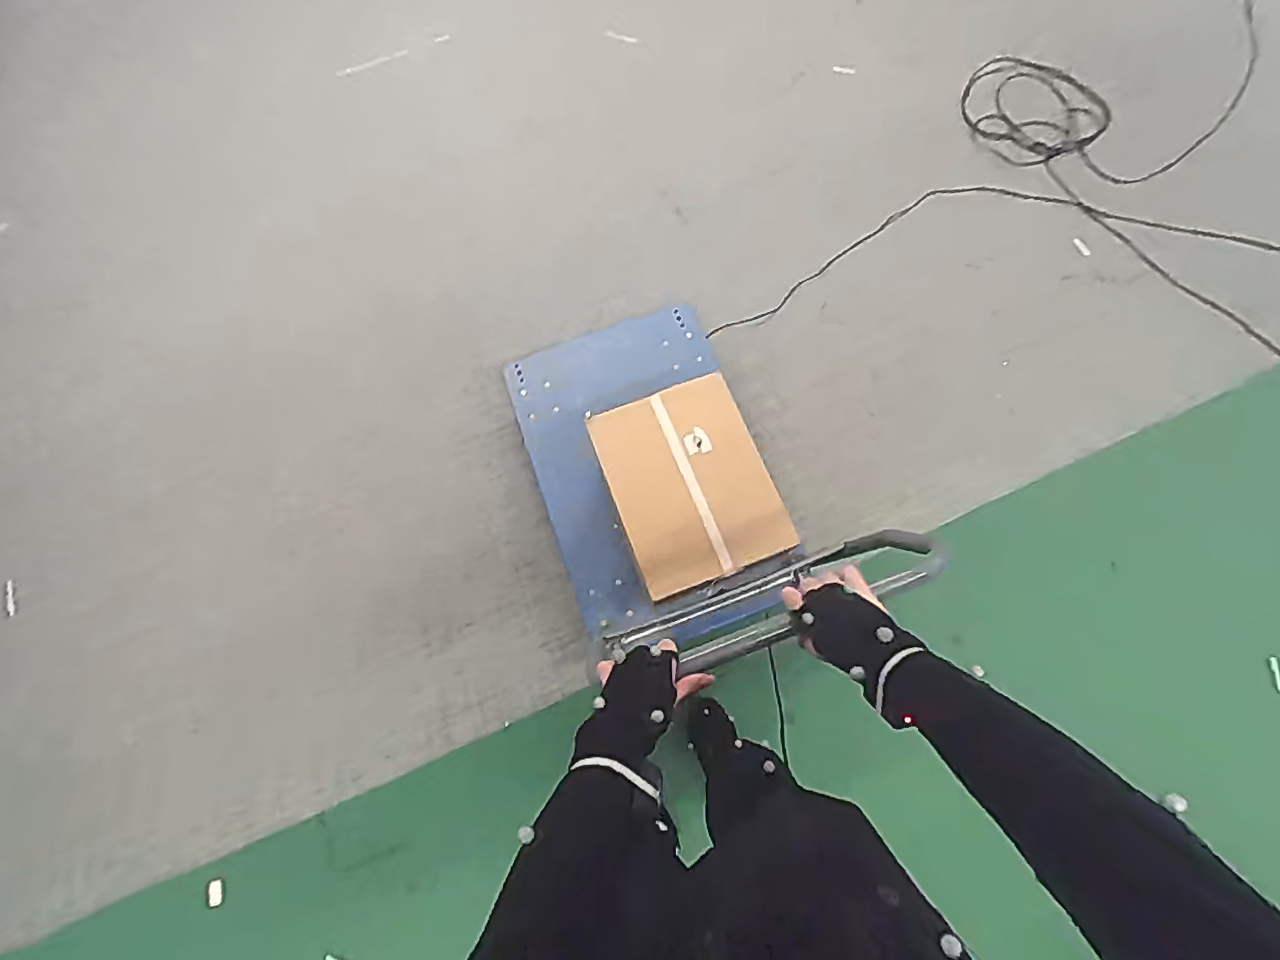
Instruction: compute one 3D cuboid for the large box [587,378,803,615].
[{"bbox_3d":[0.108,0.053,1.226,0.320,0.320,0.408,-21,72,-6],"label":"large box"}]
